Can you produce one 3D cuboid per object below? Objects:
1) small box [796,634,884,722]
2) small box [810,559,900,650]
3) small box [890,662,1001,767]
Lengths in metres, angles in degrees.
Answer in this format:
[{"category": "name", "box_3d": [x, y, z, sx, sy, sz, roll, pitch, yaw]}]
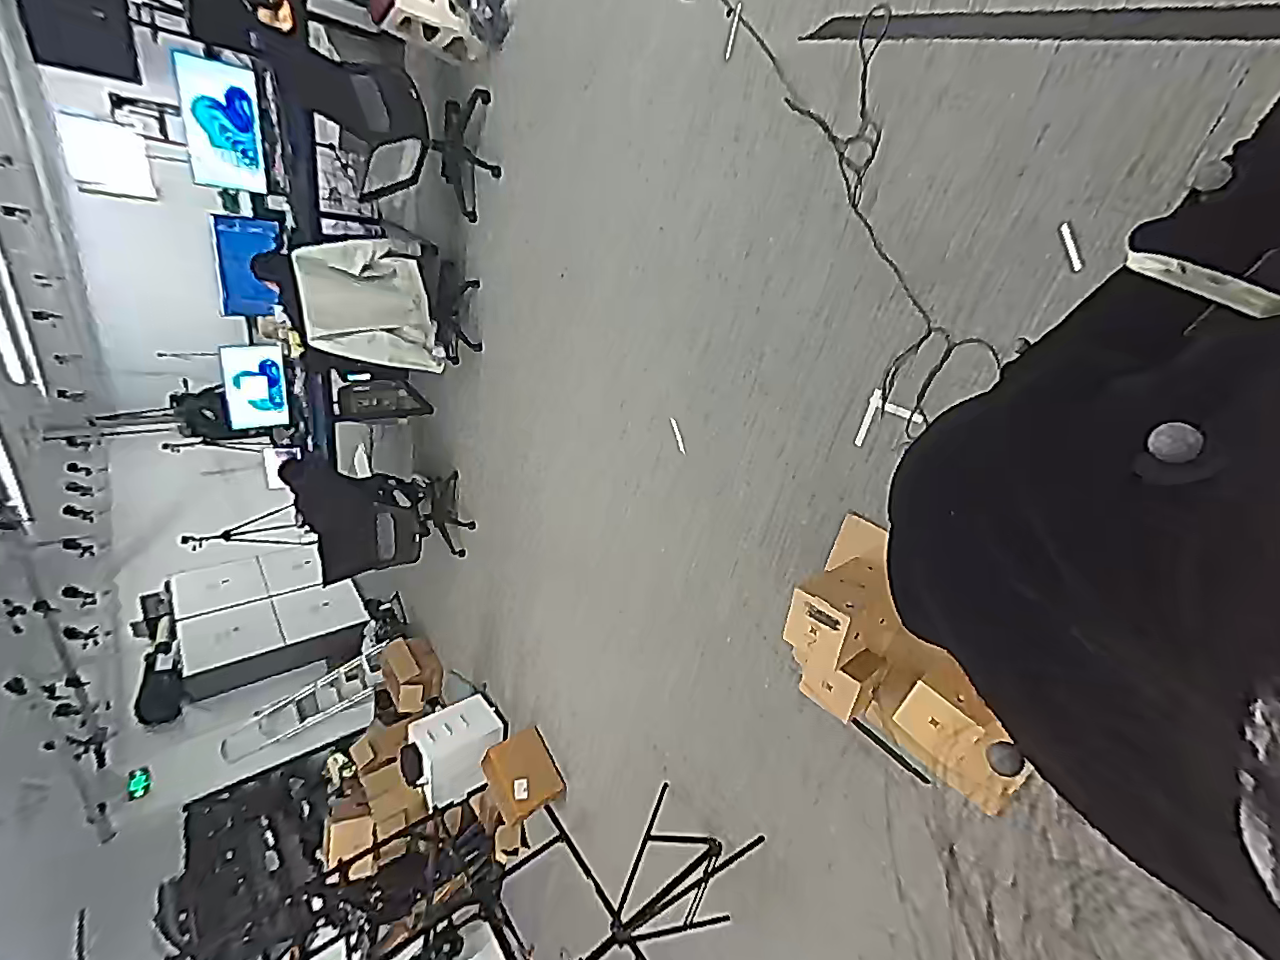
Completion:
[{"category": "small box", "box_3d": [0.619, 0.601, 1.676, 0.179, 0.176, 0.168, 29, 122, 41]}, {"category": "small box", "box_3d": [0.635, 0.356, 1.588, 0.168, 0.176, 0.179, 30, 122, 41]}, {"category": "small box", "box_3d": [0.816, 0.613, 1.444, 0.179, 0.176, 0.168, 38, 126, 36]}]
